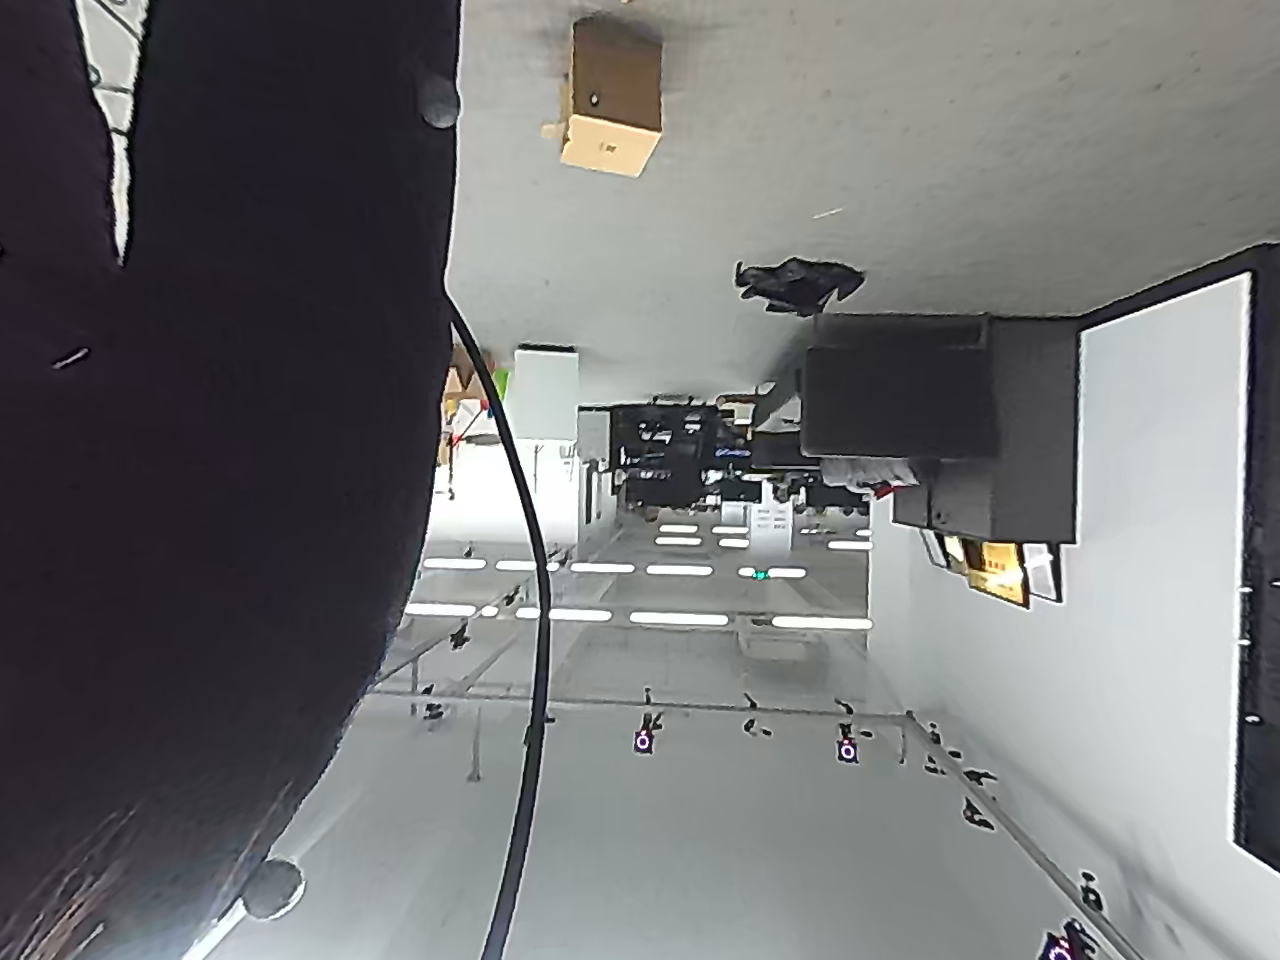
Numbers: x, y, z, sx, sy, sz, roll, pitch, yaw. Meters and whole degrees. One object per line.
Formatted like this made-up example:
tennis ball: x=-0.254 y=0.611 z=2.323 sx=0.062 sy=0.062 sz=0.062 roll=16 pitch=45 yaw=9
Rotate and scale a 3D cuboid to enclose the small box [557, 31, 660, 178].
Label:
small box: x=-0.066 y=-0.736 z=1.071 sx=0.179 sy=0.176 sz=0.168 roll=1 pitch=-179 yaw=-17
